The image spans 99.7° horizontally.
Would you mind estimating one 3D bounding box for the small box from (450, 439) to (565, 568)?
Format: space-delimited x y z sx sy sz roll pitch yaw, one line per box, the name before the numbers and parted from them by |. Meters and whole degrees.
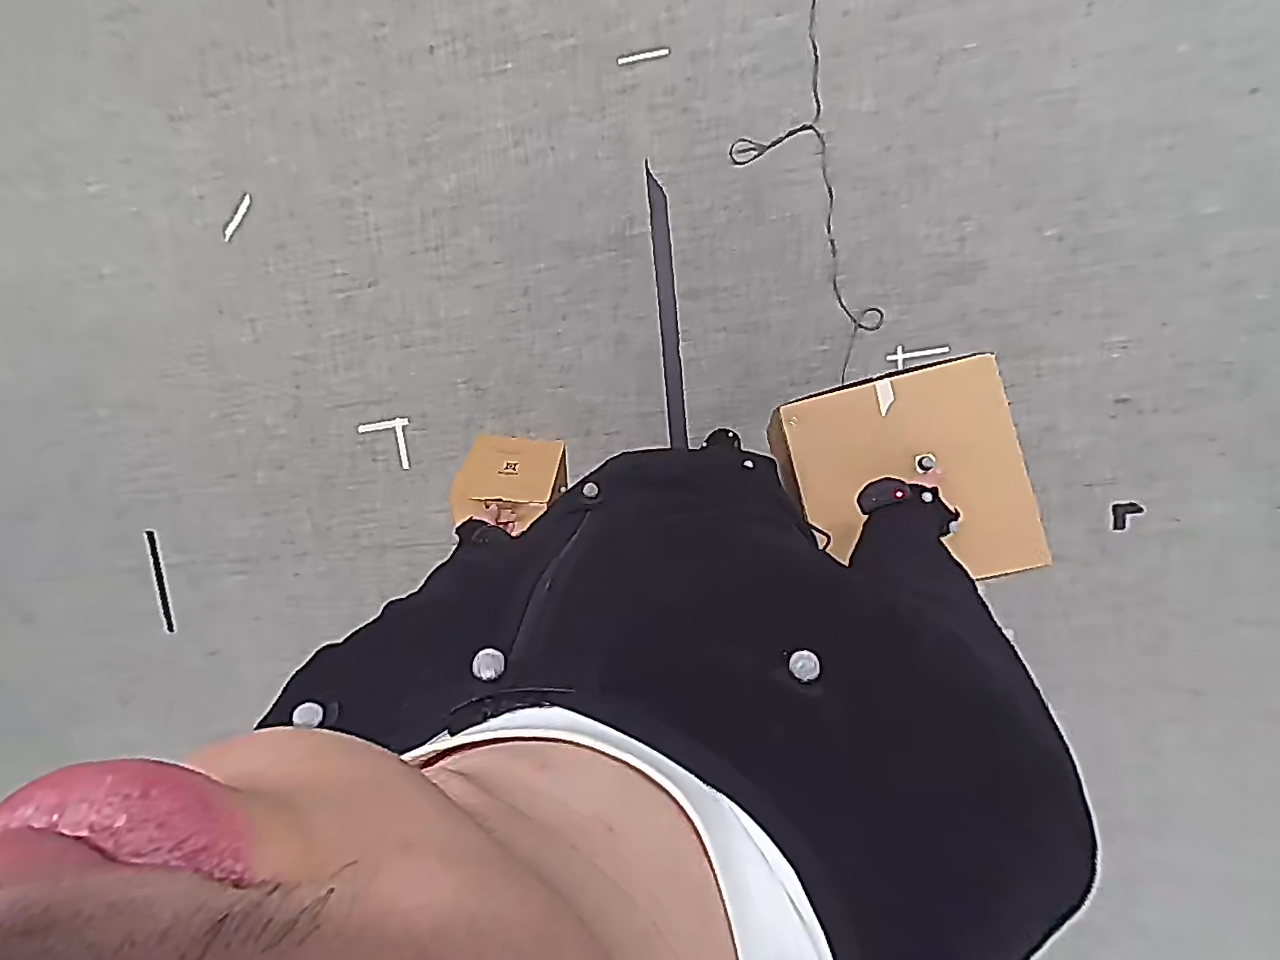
small box | -0.233 0.045 1.007 0.168 0.179 0.176 4 129 0
